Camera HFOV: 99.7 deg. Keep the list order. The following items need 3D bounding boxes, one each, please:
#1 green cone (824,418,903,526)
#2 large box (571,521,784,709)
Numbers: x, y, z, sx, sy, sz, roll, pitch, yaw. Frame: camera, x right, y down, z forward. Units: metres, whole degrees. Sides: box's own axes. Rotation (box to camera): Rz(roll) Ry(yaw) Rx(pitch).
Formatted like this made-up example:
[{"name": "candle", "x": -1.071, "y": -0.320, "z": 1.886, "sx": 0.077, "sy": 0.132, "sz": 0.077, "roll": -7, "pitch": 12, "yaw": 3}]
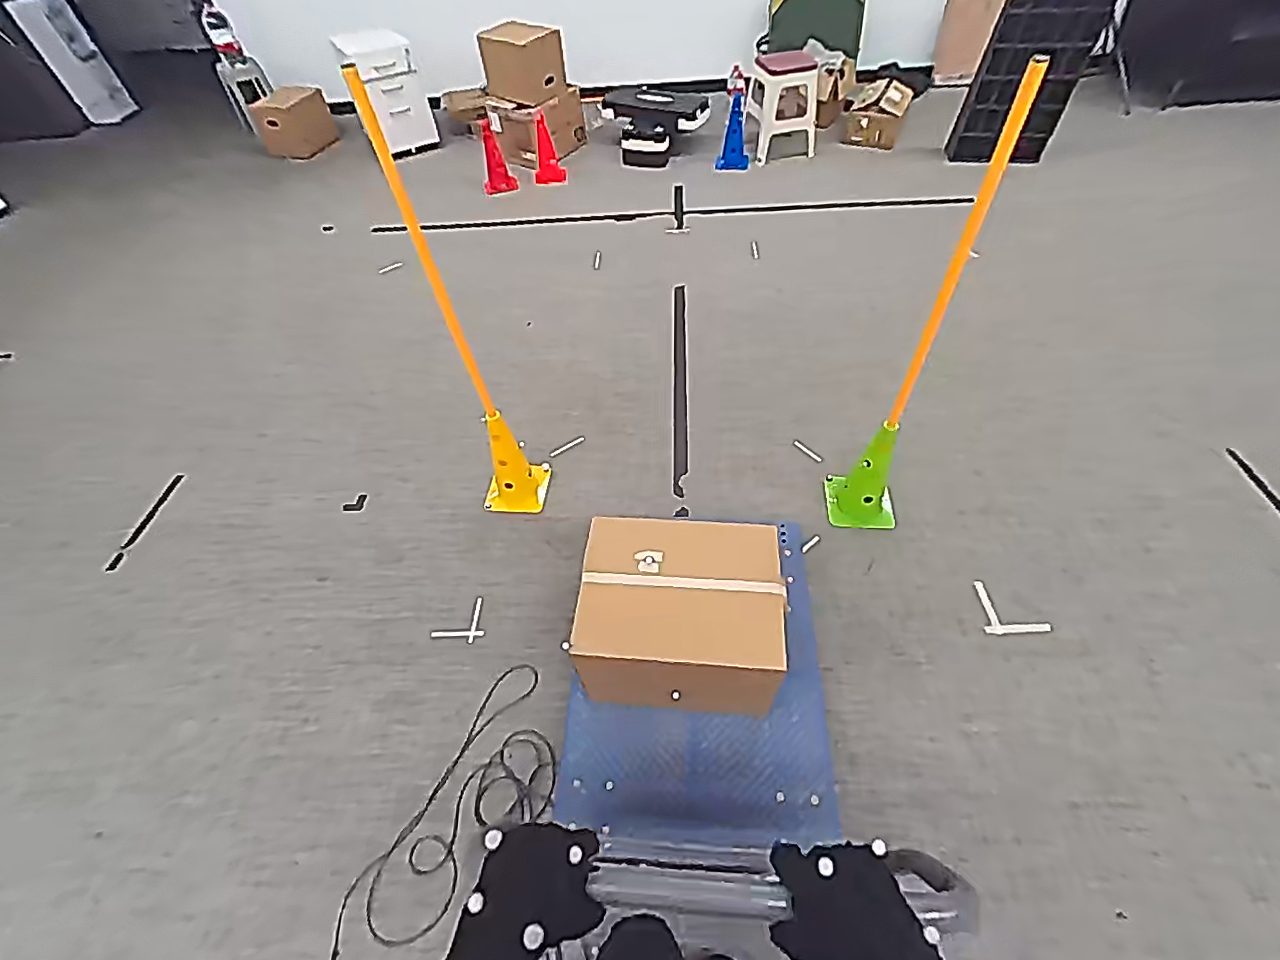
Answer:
[{"name": "green cone", "x": 0.702, "y": -0.044, "z": 1.621, "sx": 0.202, "sy": 0.368, "sz": 0.200, "roll": 3, "pitch": 52, "yaw": 5}, {"name": "large box", "x": 0.091, "y": 0.305, "z": 1.206, "sx": 0.408, "sy": 0.320, "sz": 0.320, "roll": 2, "pitch": 52, "yaw": 7}]
